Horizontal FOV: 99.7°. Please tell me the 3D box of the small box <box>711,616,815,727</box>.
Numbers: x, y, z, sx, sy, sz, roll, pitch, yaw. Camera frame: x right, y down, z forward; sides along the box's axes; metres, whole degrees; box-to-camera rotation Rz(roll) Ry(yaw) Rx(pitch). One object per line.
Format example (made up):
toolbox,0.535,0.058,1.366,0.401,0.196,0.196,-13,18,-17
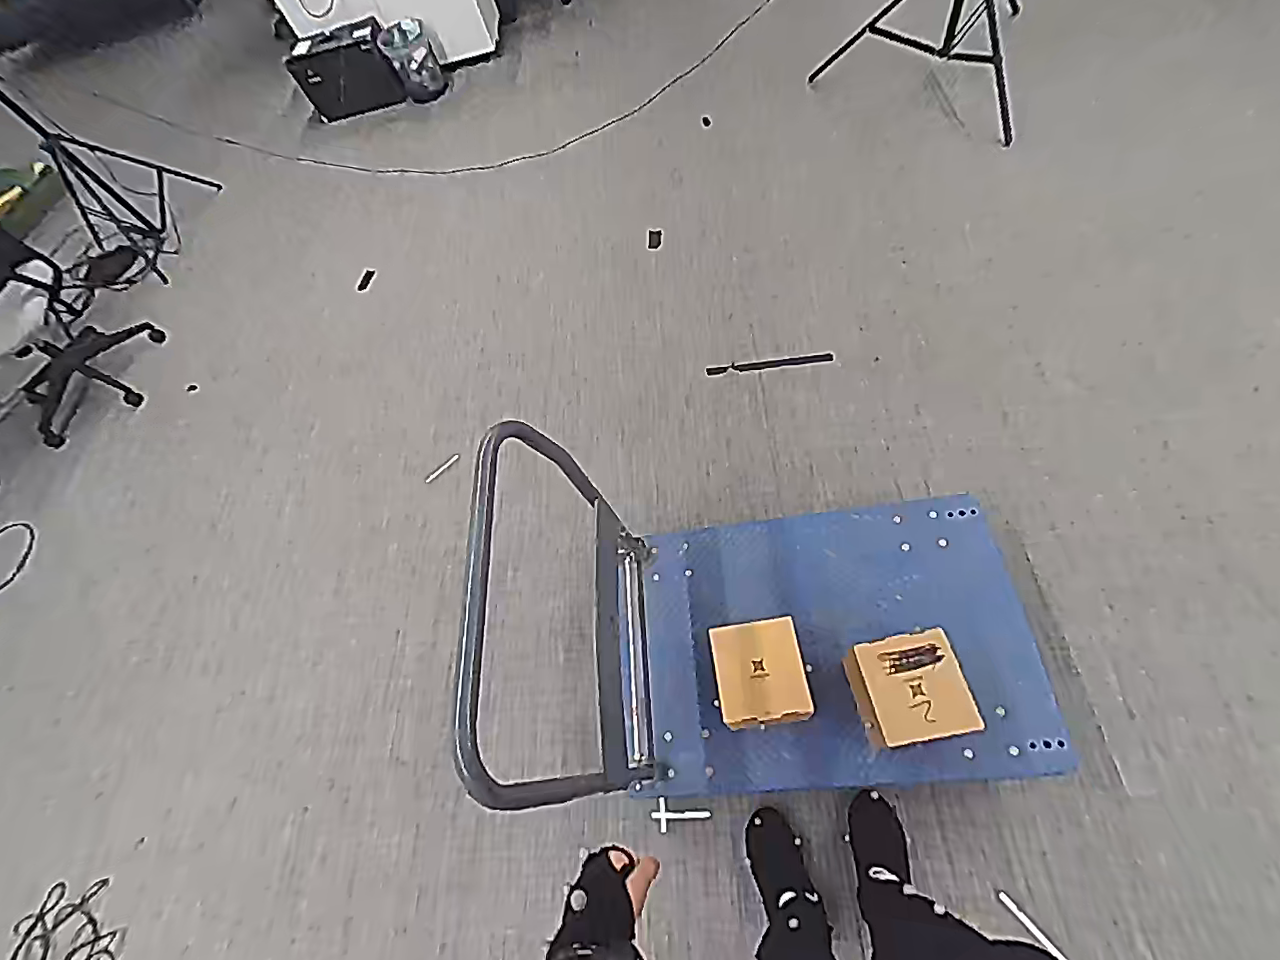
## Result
small box,0.242,0.391,1.092,0.168,0.176,0.179,-11,62,7
